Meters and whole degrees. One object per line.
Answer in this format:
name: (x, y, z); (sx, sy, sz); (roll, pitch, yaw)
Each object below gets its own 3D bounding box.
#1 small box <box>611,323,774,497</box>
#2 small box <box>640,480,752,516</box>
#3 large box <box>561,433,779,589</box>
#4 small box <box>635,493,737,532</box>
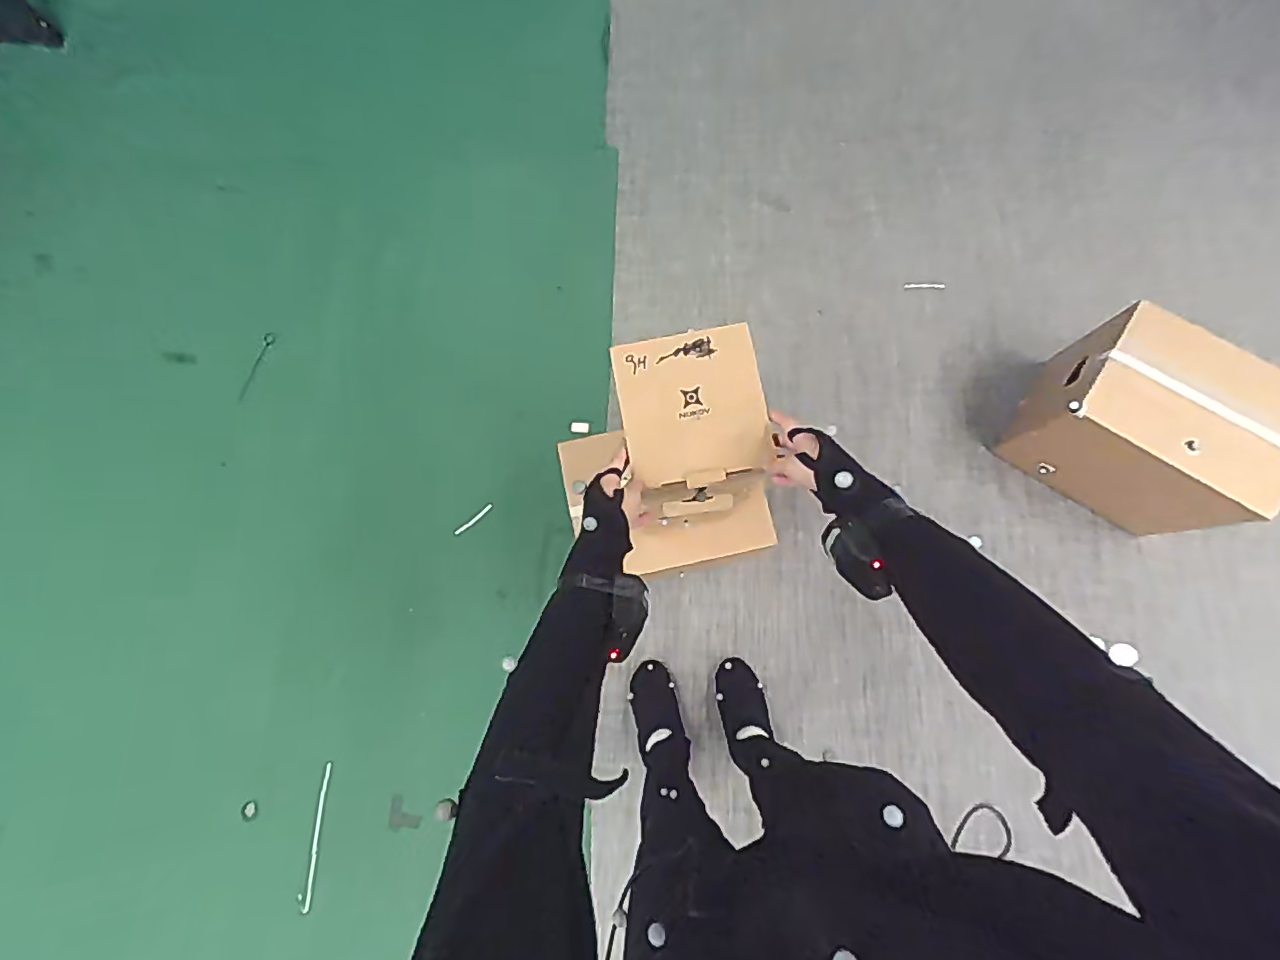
small box: (0.063, -0.076, 0.696); (0.168, 0.176, 0.179); (-10, 82, 1)
small box: (0.078, -0.041, 0.870); (0.168, 0.176, 0.179); (-8, 78, 2)
large box: (0.069, 0.060, 1.268); (0.408, 0.320, 0.320); (-14, 76, 2)
small box: (0.079, 0.000, 1.029); (0.179, 0.176, 0.168); (-10, 78, 1)
